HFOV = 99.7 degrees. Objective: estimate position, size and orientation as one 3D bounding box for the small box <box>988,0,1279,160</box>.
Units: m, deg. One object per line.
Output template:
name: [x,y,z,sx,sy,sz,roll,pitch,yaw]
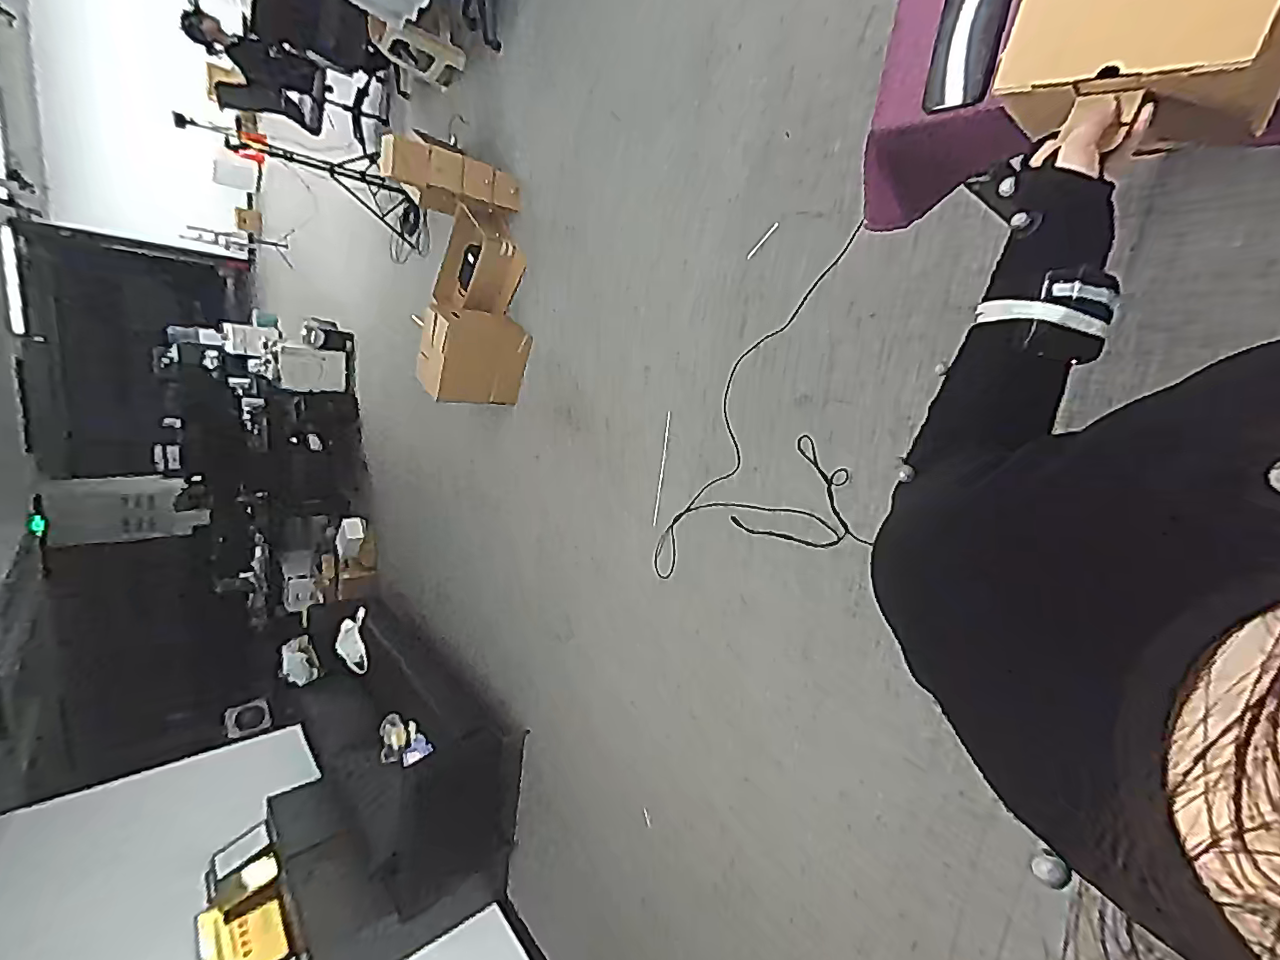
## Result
small box: [0.432,-0.389,0.449,0.168,0.176,0.179,29,117,42]
